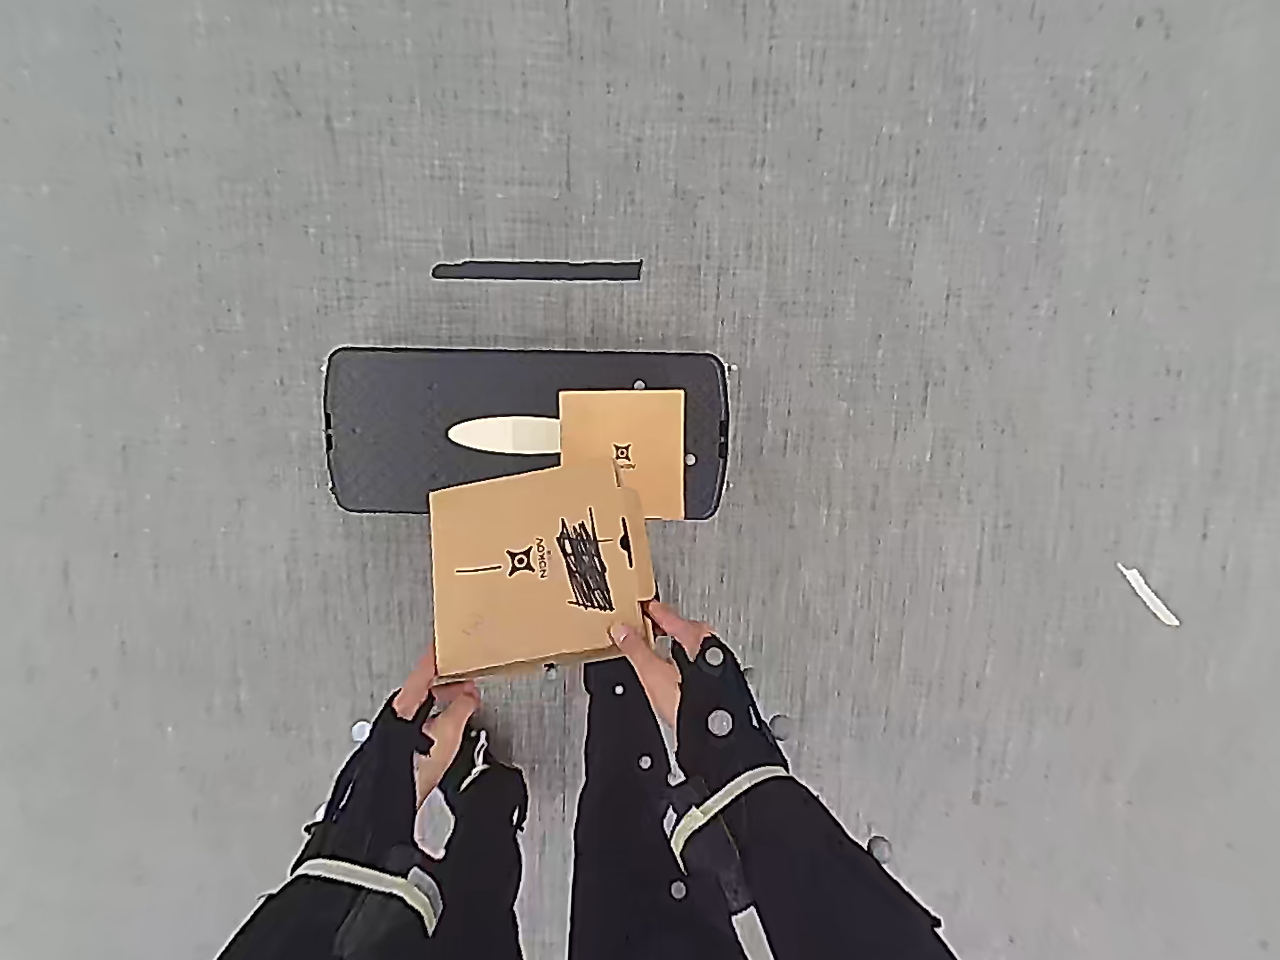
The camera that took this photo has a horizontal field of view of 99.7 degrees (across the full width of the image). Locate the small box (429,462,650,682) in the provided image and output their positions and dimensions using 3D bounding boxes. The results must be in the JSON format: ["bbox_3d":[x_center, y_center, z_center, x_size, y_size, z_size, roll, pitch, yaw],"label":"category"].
[{"bbox_3d":[-0.088,0.100,0.538,0.179,0.176,0.168,-11,69,1],"label":"small box"}]

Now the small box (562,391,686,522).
[{"bbox_3d":[-0.021,-0.039,0.796,0.168,0.176,0.179,0,98,1],"label":"small box"}]
